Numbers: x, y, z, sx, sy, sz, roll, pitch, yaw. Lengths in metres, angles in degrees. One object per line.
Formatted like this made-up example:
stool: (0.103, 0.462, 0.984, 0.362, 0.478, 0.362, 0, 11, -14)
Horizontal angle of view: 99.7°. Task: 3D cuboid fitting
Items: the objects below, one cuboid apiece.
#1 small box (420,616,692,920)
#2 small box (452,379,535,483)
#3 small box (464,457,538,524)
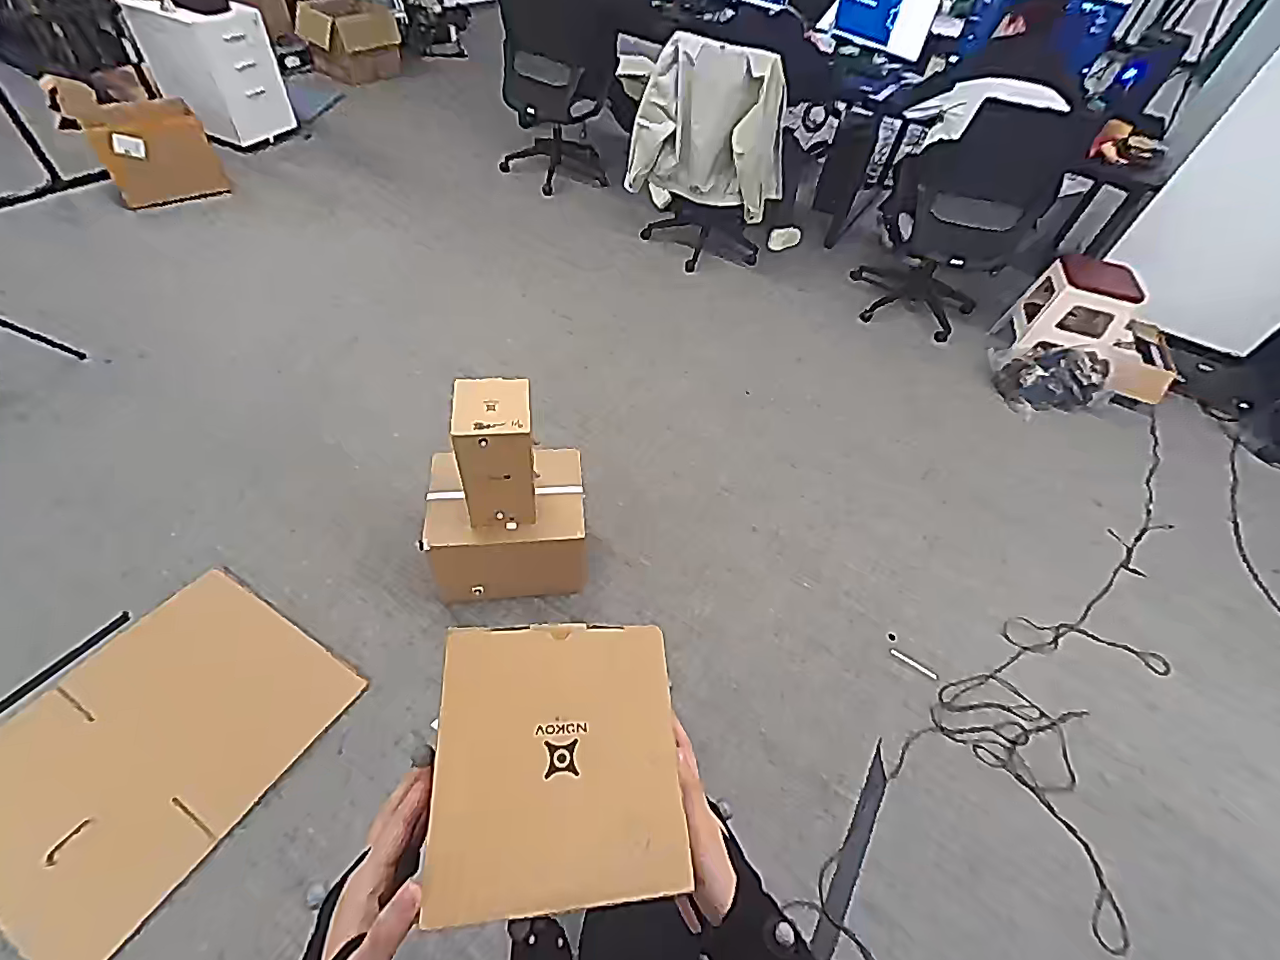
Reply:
small box: (-0.071, 0.223, 0.431, 0.168, 0.176, 0.179, 3, 54, -15)
small box: (-0.330, -0.113, 1.247, 0.168, 0.176, 0.179, -3, 51, -10)
small box: (-0.348, -0.008, 1.373, 0.168, 0.176, 0.179, -3, 53, -10)
